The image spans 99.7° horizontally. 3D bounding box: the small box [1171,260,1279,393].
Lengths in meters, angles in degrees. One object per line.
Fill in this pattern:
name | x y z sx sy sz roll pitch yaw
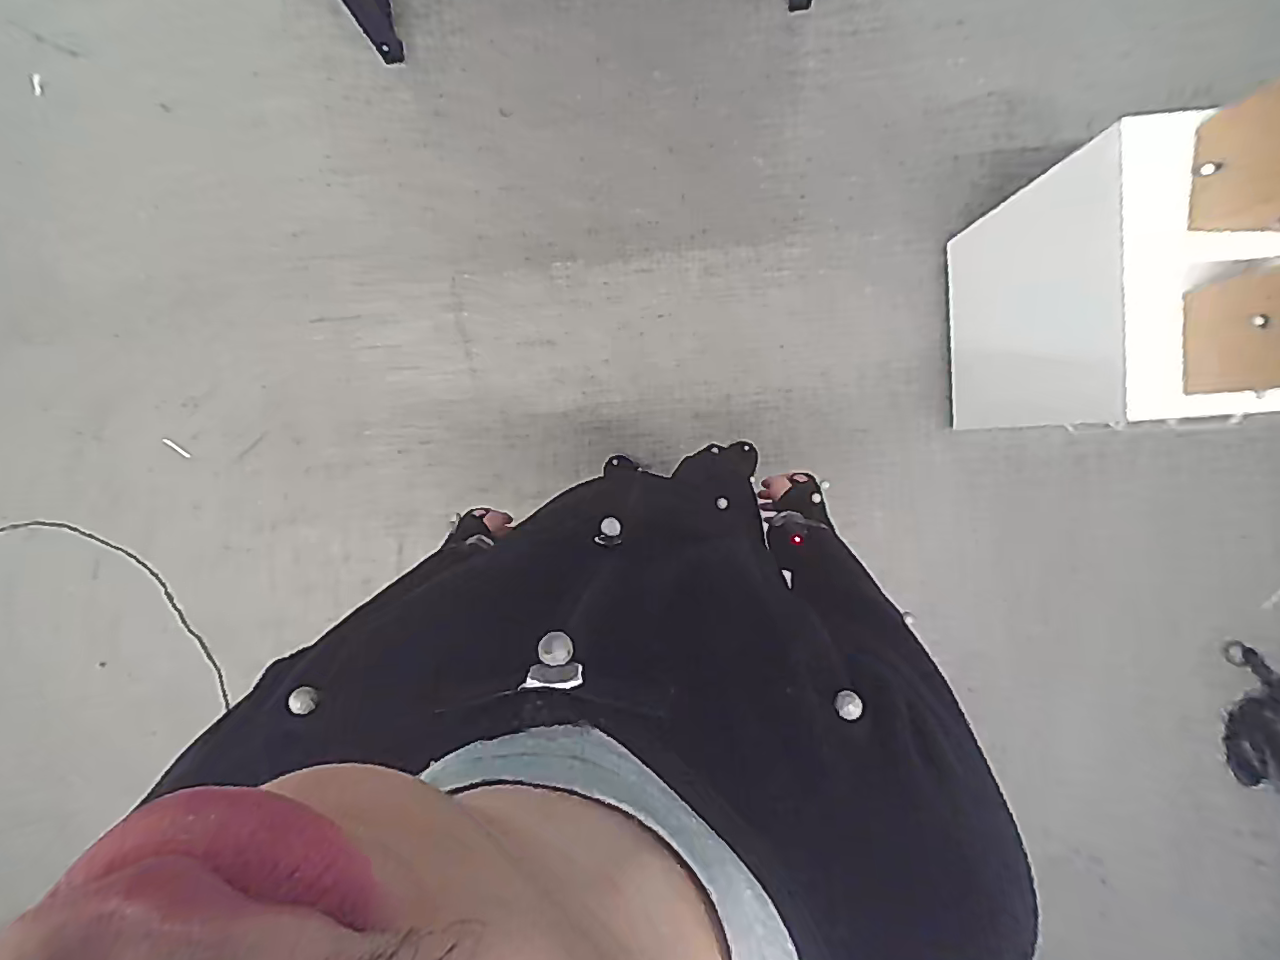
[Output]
small box | 1.000 -0.240 0.856 0.168 0.176 0.179 -5 93 0
